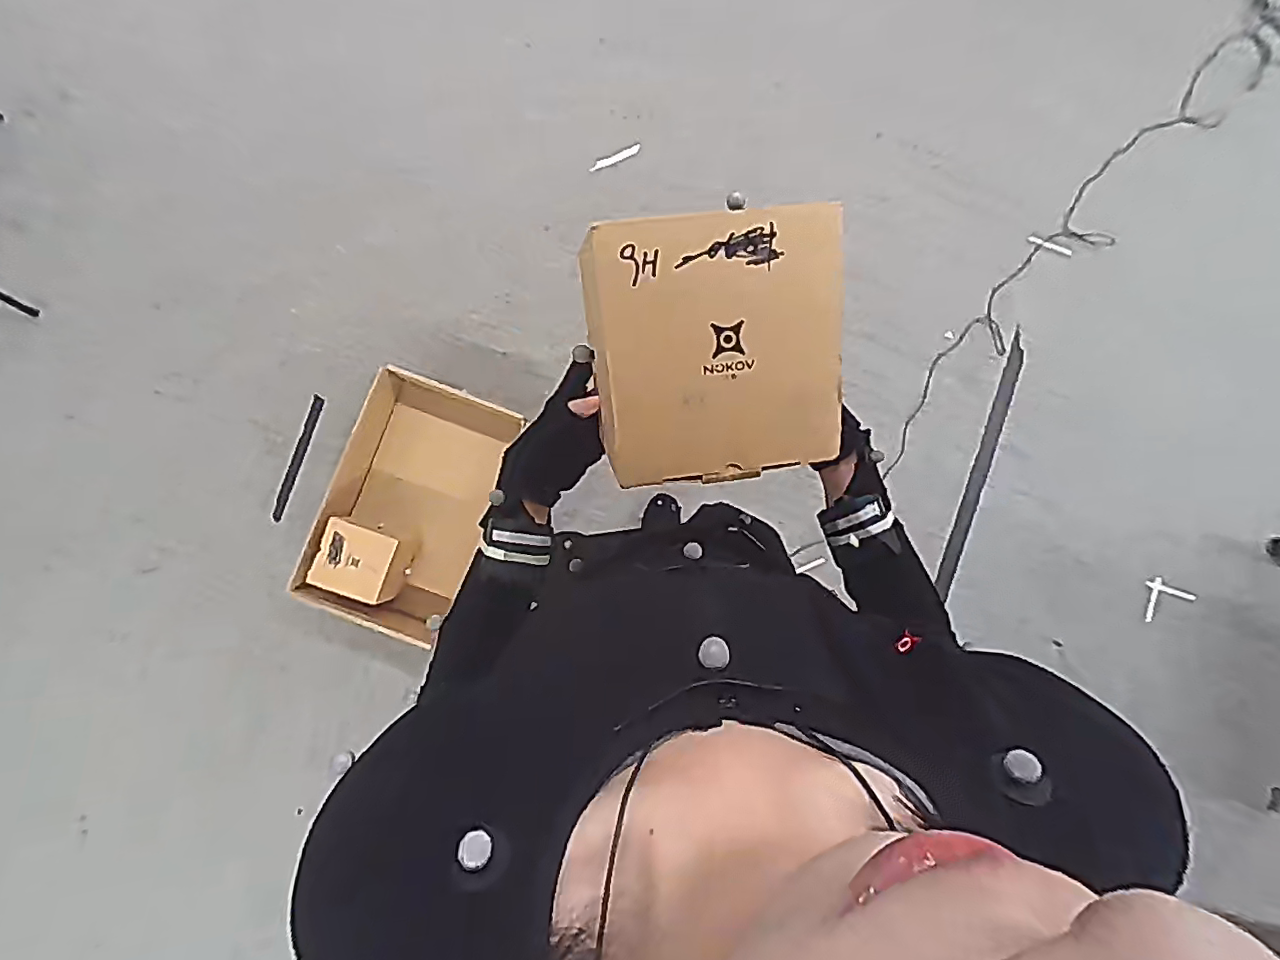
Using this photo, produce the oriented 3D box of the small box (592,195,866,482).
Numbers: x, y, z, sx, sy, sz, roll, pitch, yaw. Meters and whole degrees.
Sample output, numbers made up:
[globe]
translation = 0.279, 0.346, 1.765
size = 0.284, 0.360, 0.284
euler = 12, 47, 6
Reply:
[small box]
translation = 0.055, -0.114, 0.432
size = 0.168, 0.176, 0.179
euler = -8, 109, -7
